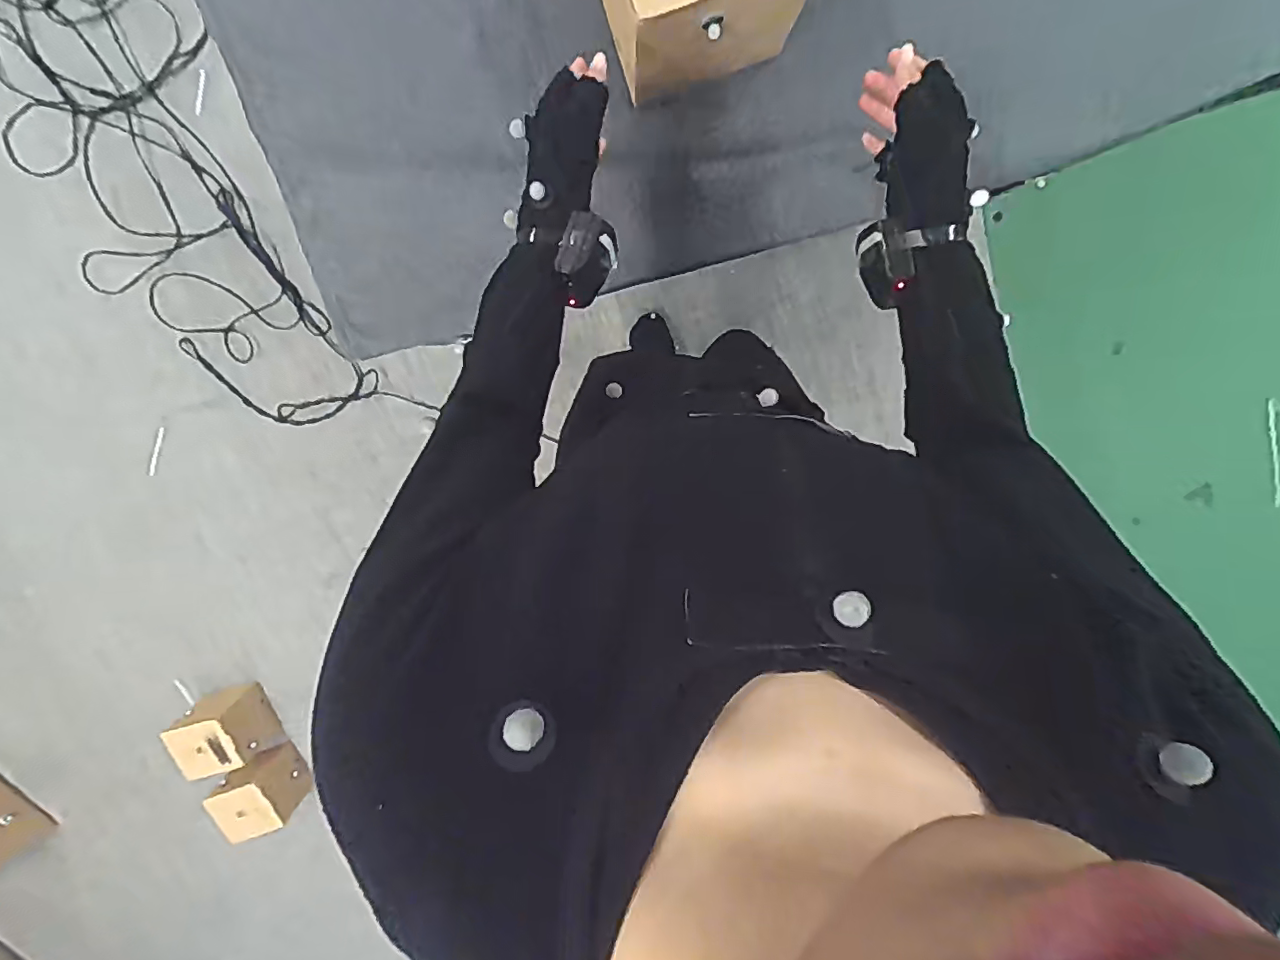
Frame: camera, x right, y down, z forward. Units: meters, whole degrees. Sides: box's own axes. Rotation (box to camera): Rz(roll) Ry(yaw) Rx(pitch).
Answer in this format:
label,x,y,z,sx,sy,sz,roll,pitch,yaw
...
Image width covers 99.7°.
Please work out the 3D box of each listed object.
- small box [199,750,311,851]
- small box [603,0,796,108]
label,x,y,z,sx,sy,sz,roll,pitch,yaw
small box,-1.125,0.939,1.595,0.179,0.176,0.168,-21,103,4
small box,0.050,-0.506,0.526,0.179,0.176,0.168,-18,103,3
